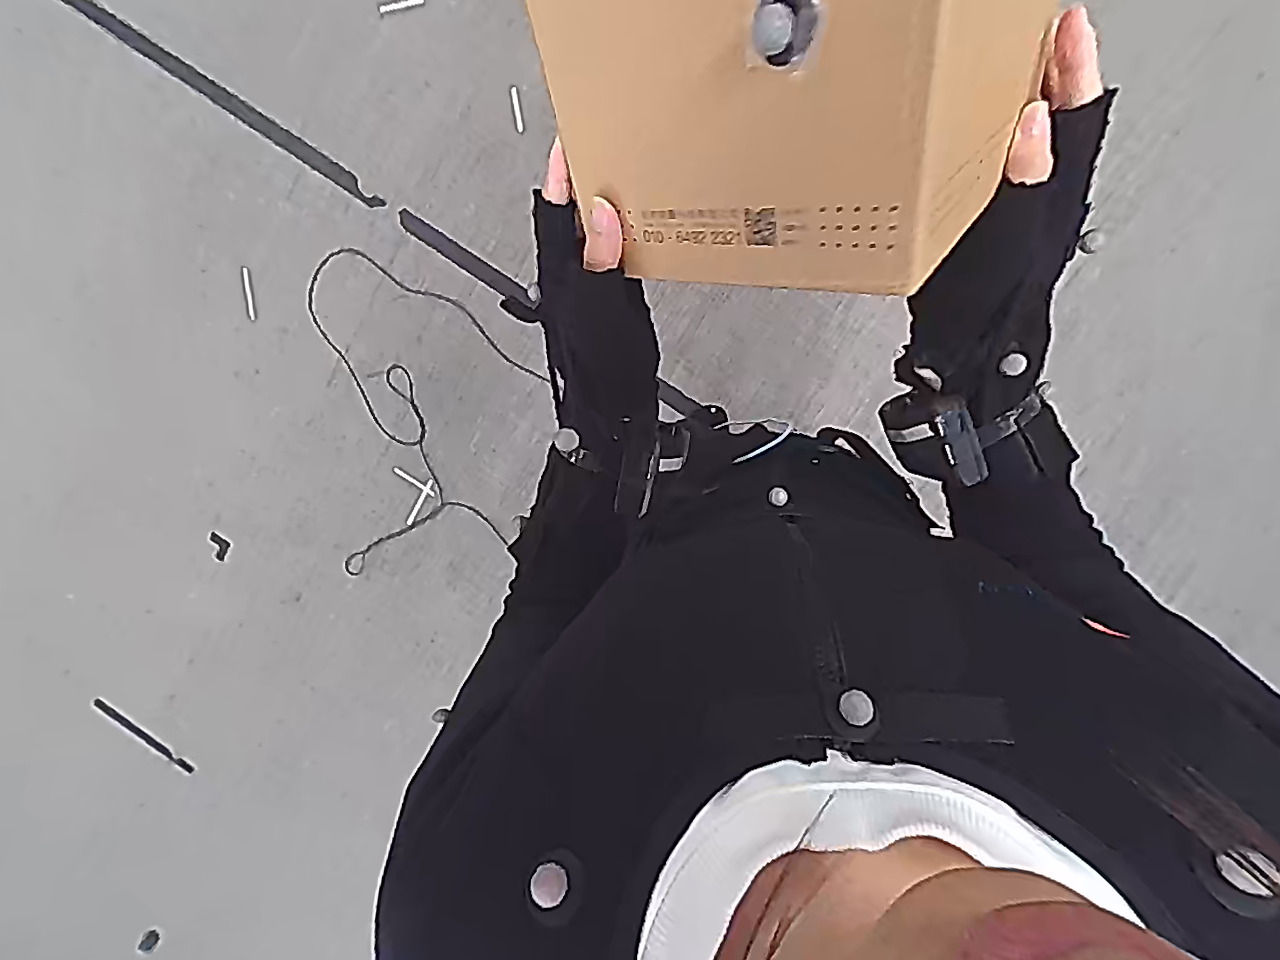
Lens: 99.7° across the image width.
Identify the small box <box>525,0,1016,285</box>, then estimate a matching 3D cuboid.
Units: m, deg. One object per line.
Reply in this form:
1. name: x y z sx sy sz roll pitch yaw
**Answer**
1. small box: 0.071 -0.208 0.260 0.168 0.179 0.176 18 140 35
